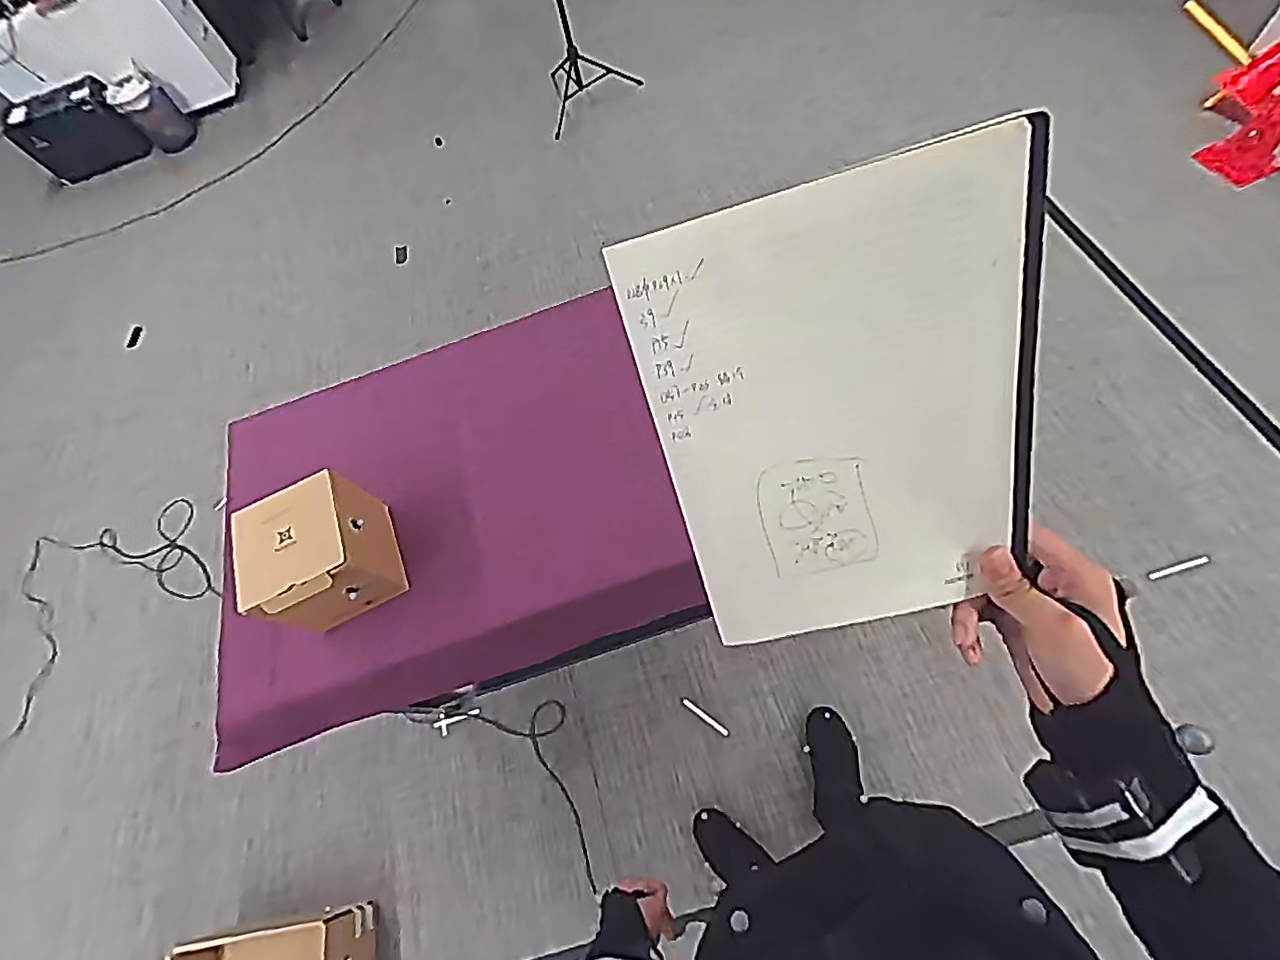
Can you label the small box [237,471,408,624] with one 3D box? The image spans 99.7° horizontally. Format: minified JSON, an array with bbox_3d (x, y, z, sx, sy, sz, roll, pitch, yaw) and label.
[{"bbox_3d":[-0.507,0.120,0.879,0.168,0.176,0.179,-26,64,-2],"label":"small box"}]
